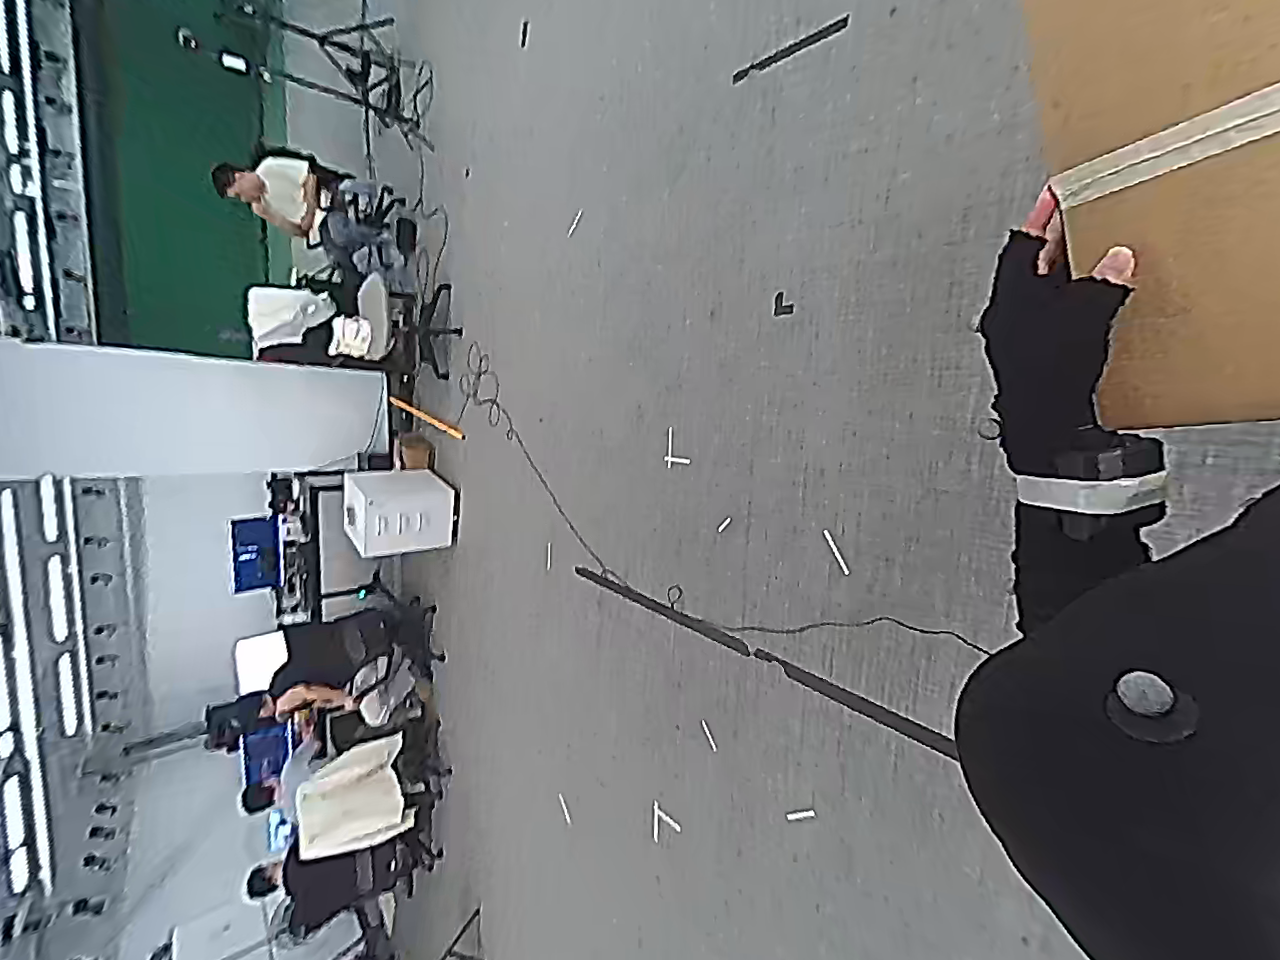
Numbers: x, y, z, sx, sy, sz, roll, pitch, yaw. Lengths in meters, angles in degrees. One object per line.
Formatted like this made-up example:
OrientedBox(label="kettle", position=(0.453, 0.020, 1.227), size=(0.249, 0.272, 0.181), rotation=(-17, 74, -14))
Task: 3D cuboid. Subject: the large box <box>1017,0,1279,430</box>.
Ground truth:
OrientedBox(label="large box", position=(0.485, -0.237, 0.253), size=(0.408, 0.320, 0.320), rotation=(-2, 112, 57))
